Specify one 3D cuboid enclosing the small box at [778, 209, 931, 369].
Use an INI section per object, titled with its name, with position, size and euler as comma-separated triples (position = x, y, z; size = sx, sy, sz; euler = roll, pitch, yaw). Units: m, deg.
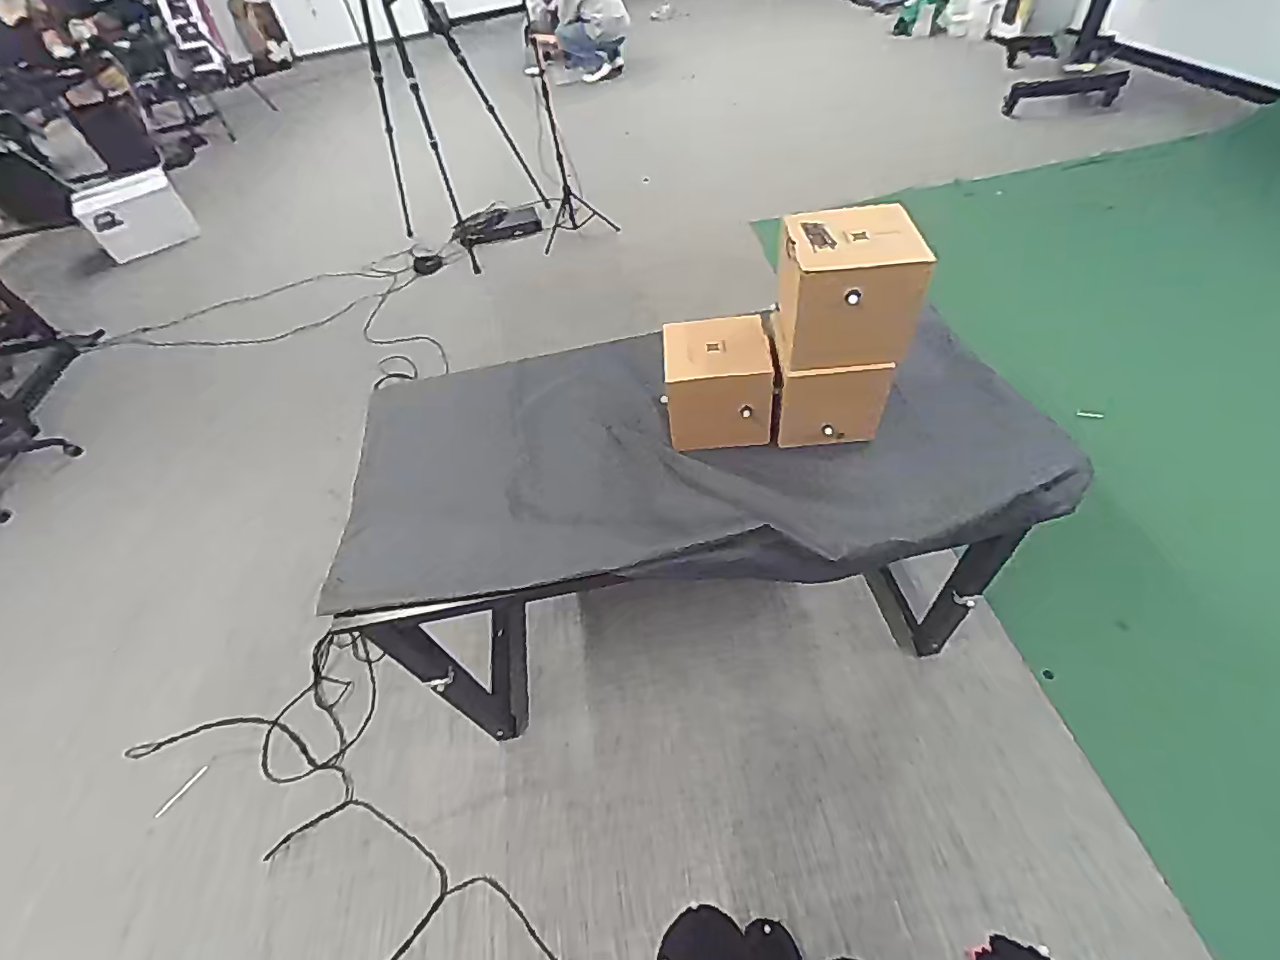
[small box]
position = 0.310, -0.286, 0.828
size = 0.179, 0.176, 0.168
euler = -4, 51, 6
